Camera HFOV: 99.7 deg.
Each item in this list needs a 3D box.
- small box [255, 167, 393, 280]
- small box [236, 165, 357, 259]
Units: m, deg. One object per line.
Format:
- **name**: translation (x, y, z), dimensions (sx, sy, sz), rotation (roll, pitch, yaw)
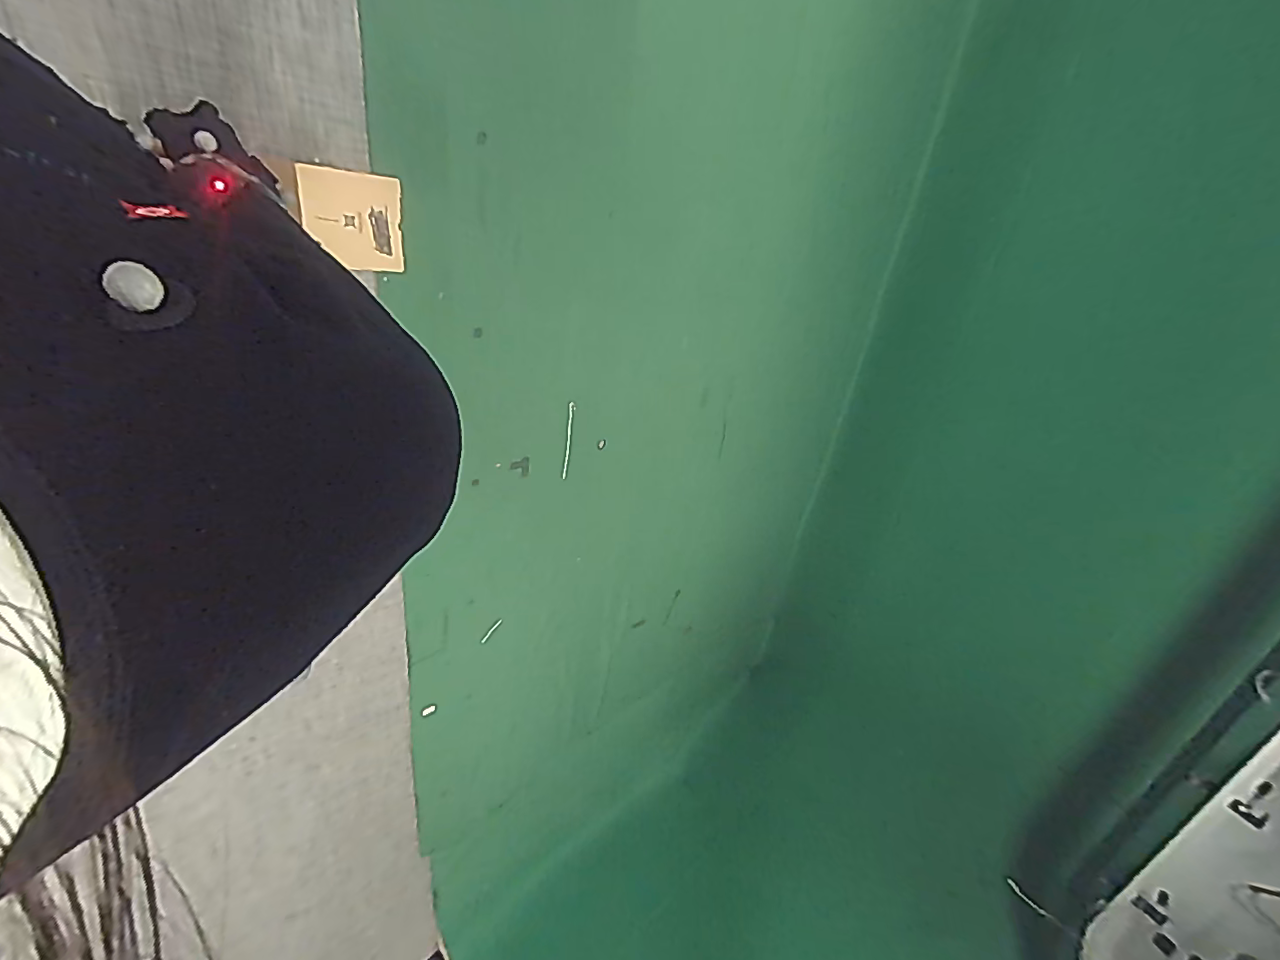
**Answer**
- **small box**: translation (-0.590, -0.481, 1.019), dimensions (0.179, 0.176, 0.168), rotation (-17, 124, -44)
- **small box**: translation (-0.700, -0.549, 1.122), dimensions (0.179, 0.176, 0.168), rotation (-19, 126, -42)
